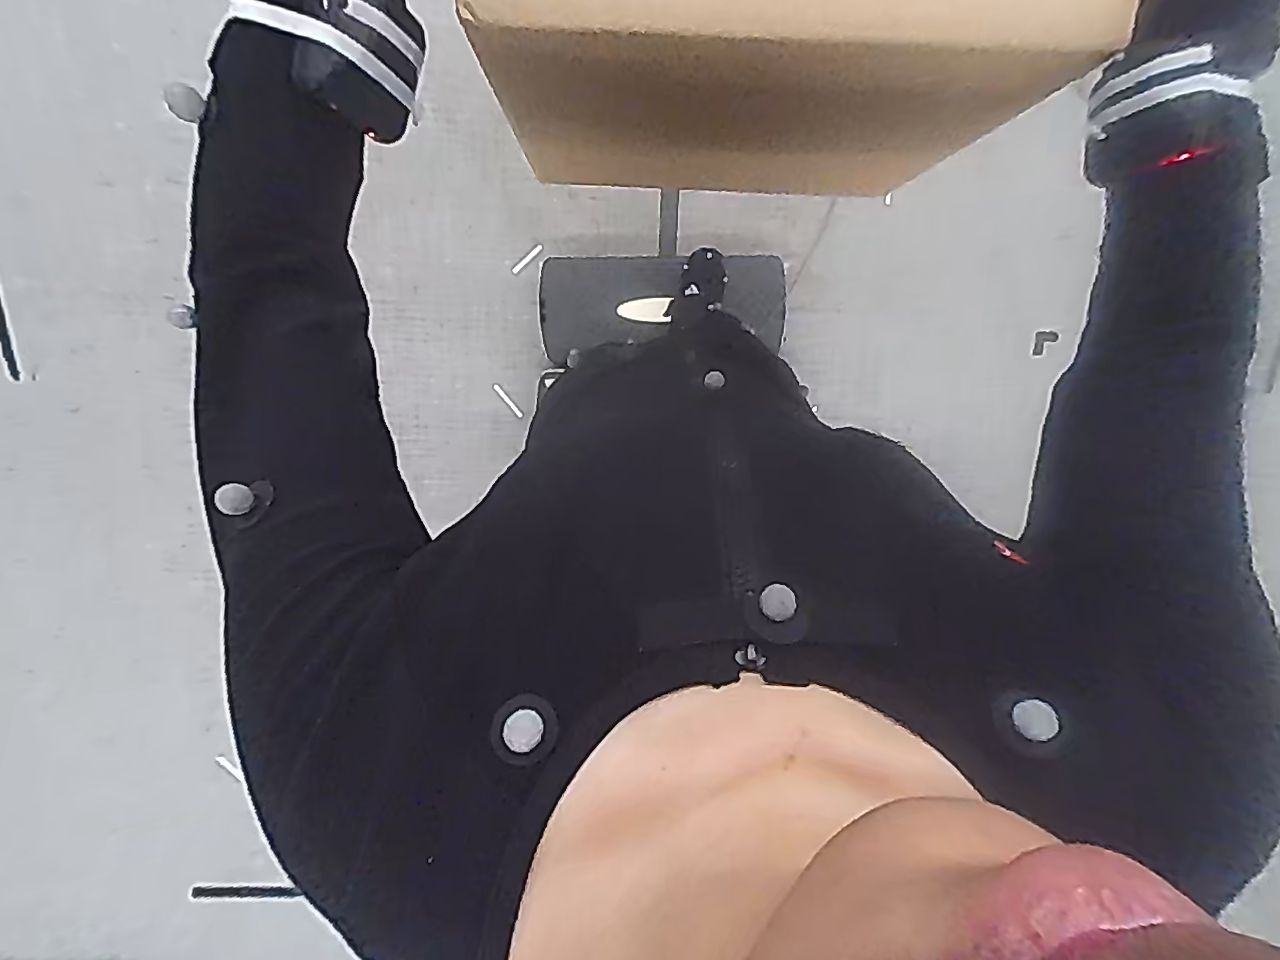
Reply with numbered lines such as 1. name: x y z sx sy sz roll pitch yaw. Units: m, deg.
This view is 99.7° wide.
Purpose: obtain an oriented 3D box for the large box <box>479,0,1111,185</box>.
1. large box: 0.091 -0.458 0.448 0.408 0.320 0.320 0 104 -3
